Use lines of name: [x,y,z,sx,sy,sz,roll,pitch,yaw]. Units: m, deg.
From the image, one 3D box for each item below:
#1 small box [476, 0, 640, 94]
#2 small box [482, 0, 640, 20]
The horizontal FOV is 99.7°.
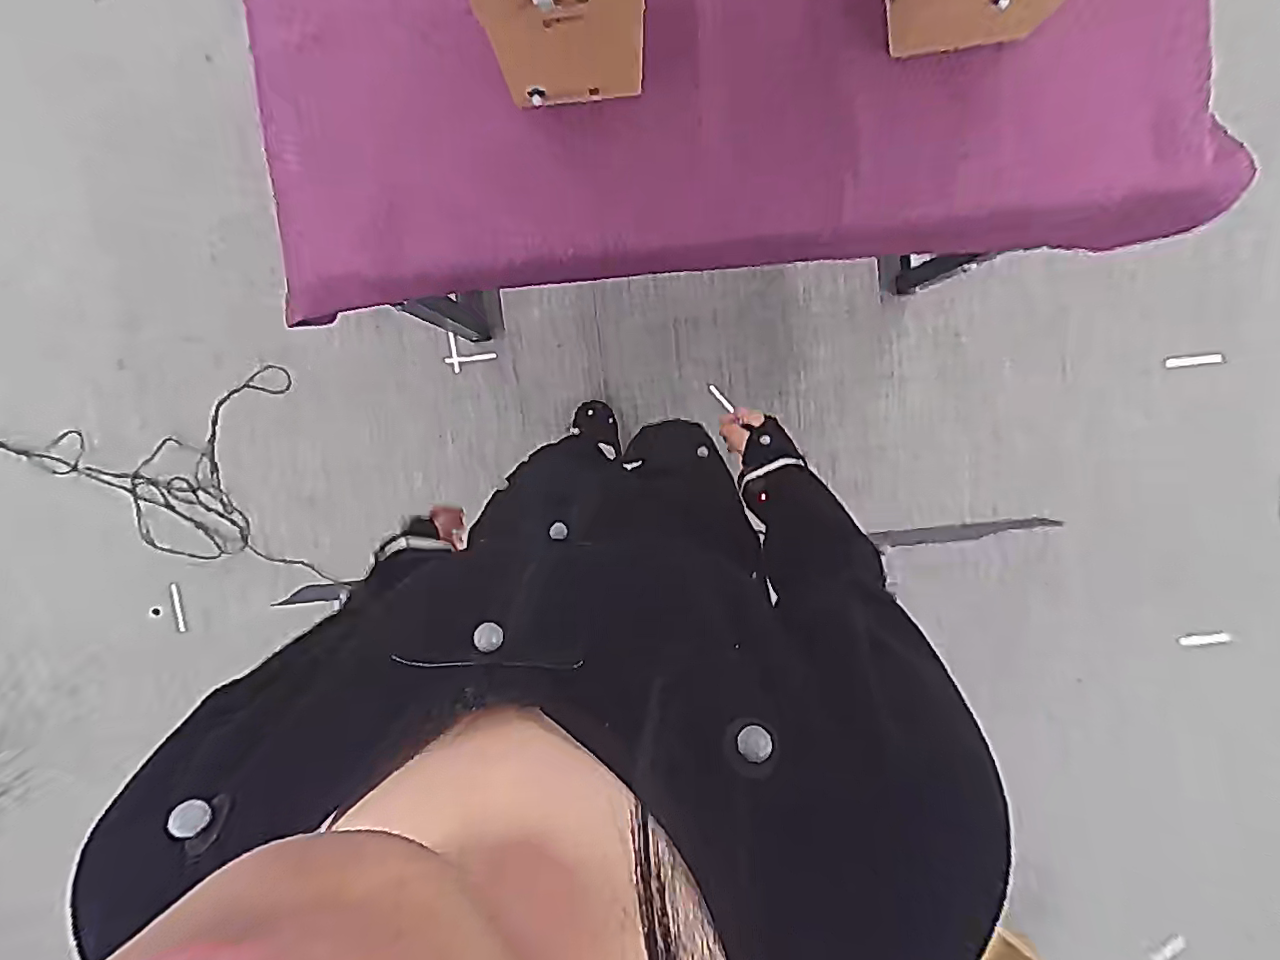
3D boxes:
small box: [-0.089,-0.565,0.602,0.168,0.176,0.179,-6,96,0]
small box: [-0.082,-0.534,0.442,0.168,0.176,0.179,-6,98,1]
